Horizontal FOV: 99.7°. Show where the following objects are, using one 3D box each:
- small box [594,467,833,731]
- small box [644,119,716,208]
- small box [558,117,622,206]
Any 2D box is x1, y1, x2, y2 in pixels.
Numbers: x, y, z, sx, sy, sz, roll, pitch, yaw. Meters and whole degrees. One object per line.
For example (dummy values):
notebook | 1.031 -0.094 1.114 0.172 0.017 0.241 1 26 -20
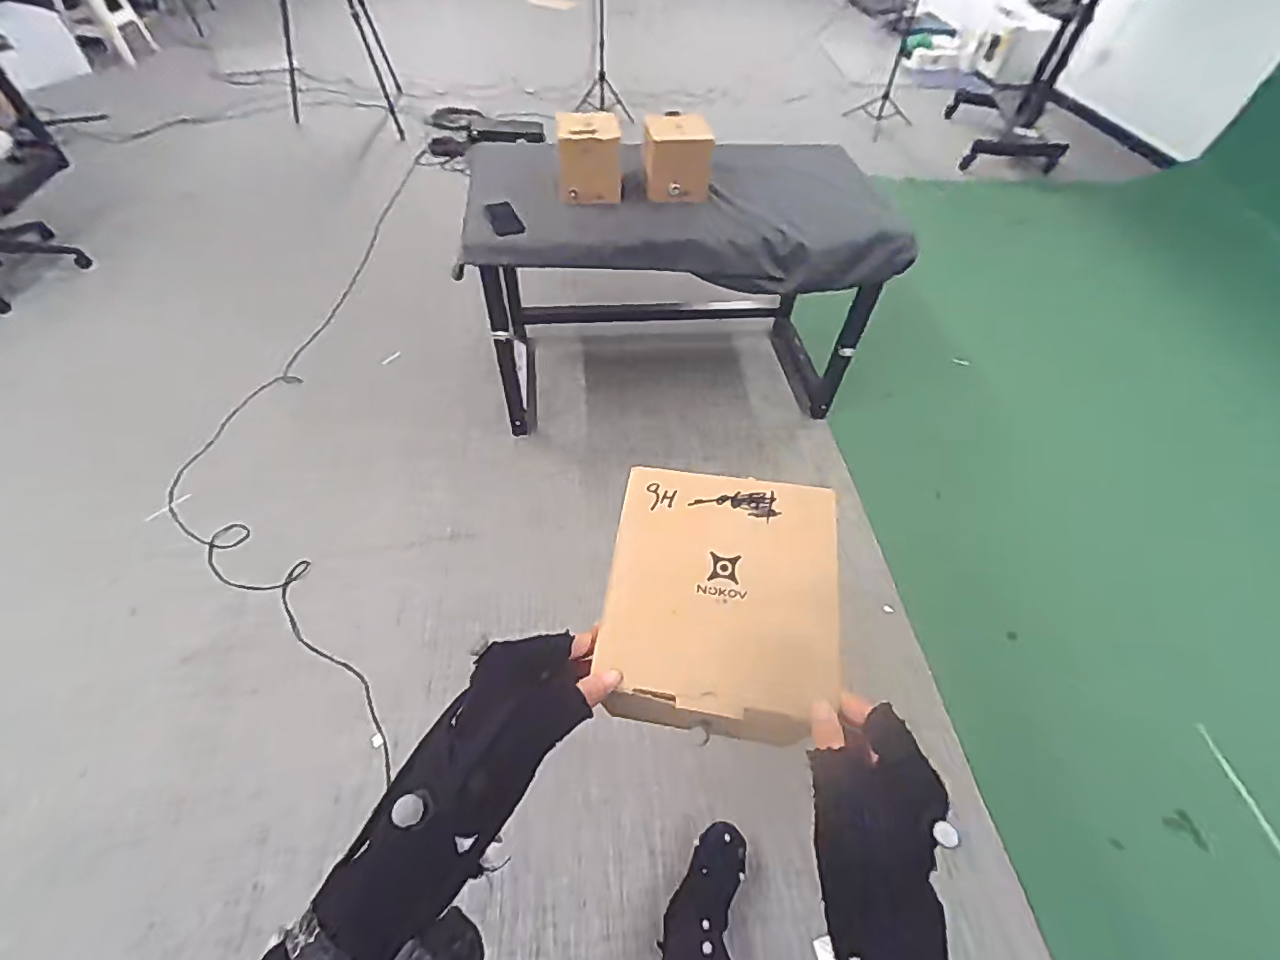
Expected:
small box | 0.064 0.112 0.475 0.168 0.176 0.179 7 61 6
small box | 0.106 -0.895 1.531 0.168 0.176 0.179 -6 54 -7
small box | -0.137 -0.880 1.499 0.168 0.176 0.179 -4 51 -7
